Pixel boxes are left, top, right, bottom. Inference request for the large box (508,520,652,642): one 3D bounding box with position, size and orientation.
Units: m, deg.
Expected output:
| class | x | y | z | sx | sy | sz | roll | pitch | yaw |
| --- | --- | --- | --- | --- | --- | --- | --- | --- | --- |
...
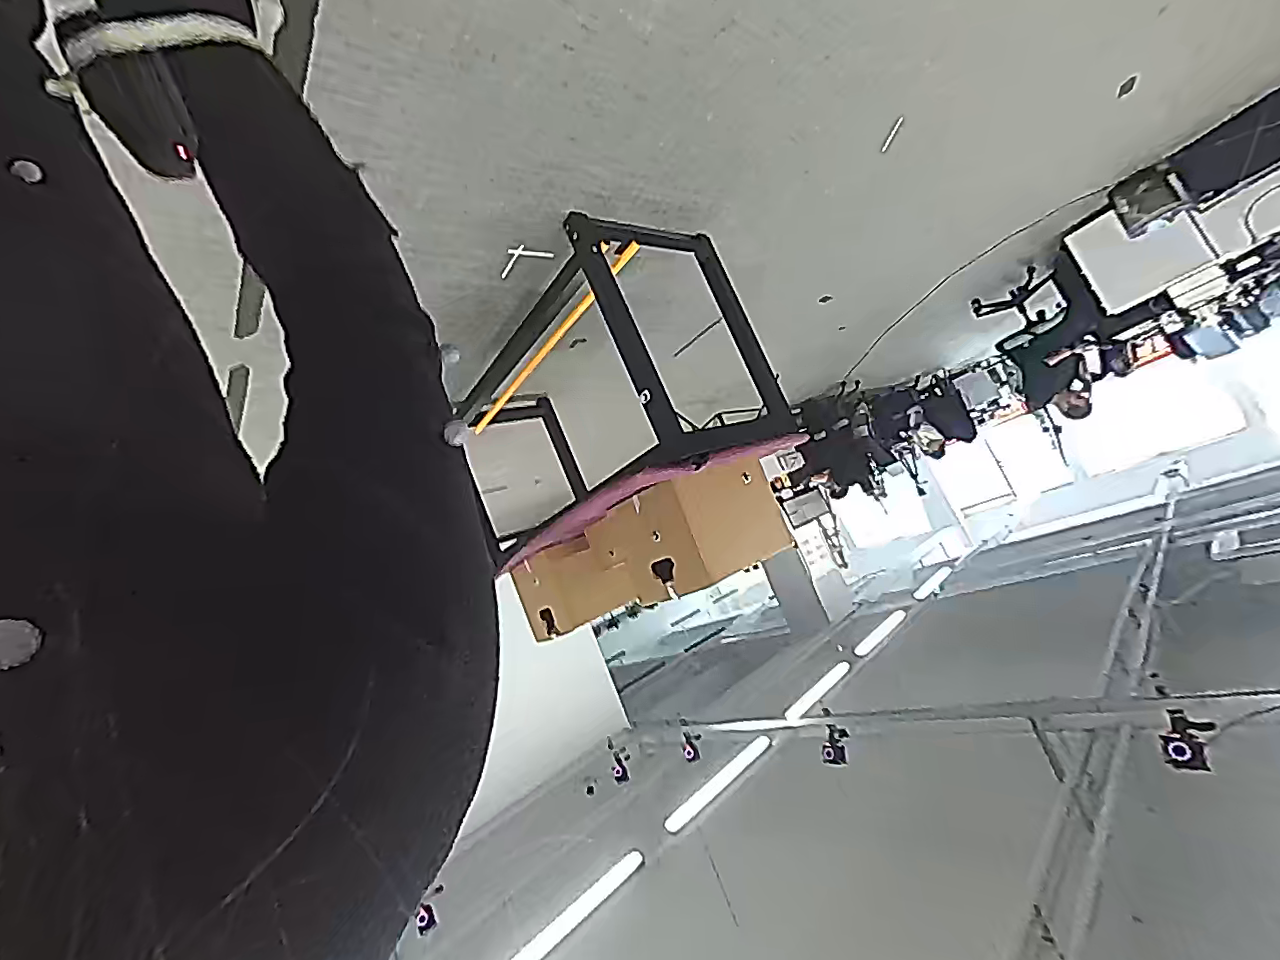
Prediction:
| class | x | y | z | sx | sy | sz | roll | pitch | yaw |
| --- | --- | --- | --- | --- | --- | --- | --- | --- | --- |
| large box | -0.239 | 0.392 | 2.131 | 0.408 | 0.320 | 0.320 | -17 | 170 | -43 |
